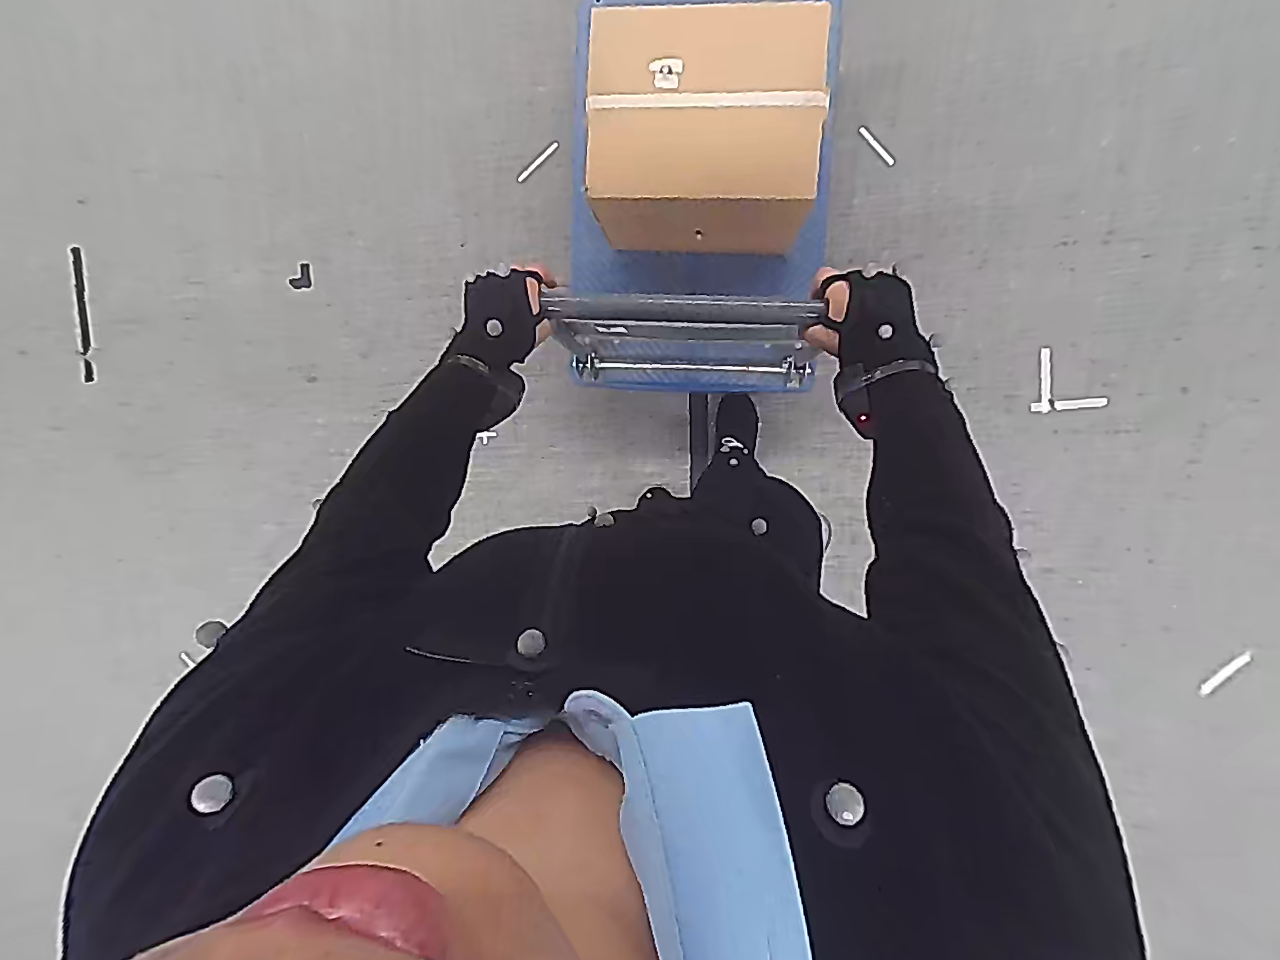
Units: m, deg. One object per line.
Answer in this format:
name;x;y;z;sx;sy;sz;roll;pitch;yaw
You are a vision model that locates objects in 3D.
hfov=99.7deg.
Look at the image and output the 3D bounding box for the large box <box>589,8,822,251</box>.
large box;0.127;-0.668;1.097;0.408;0.320;0.320;3;96;7
